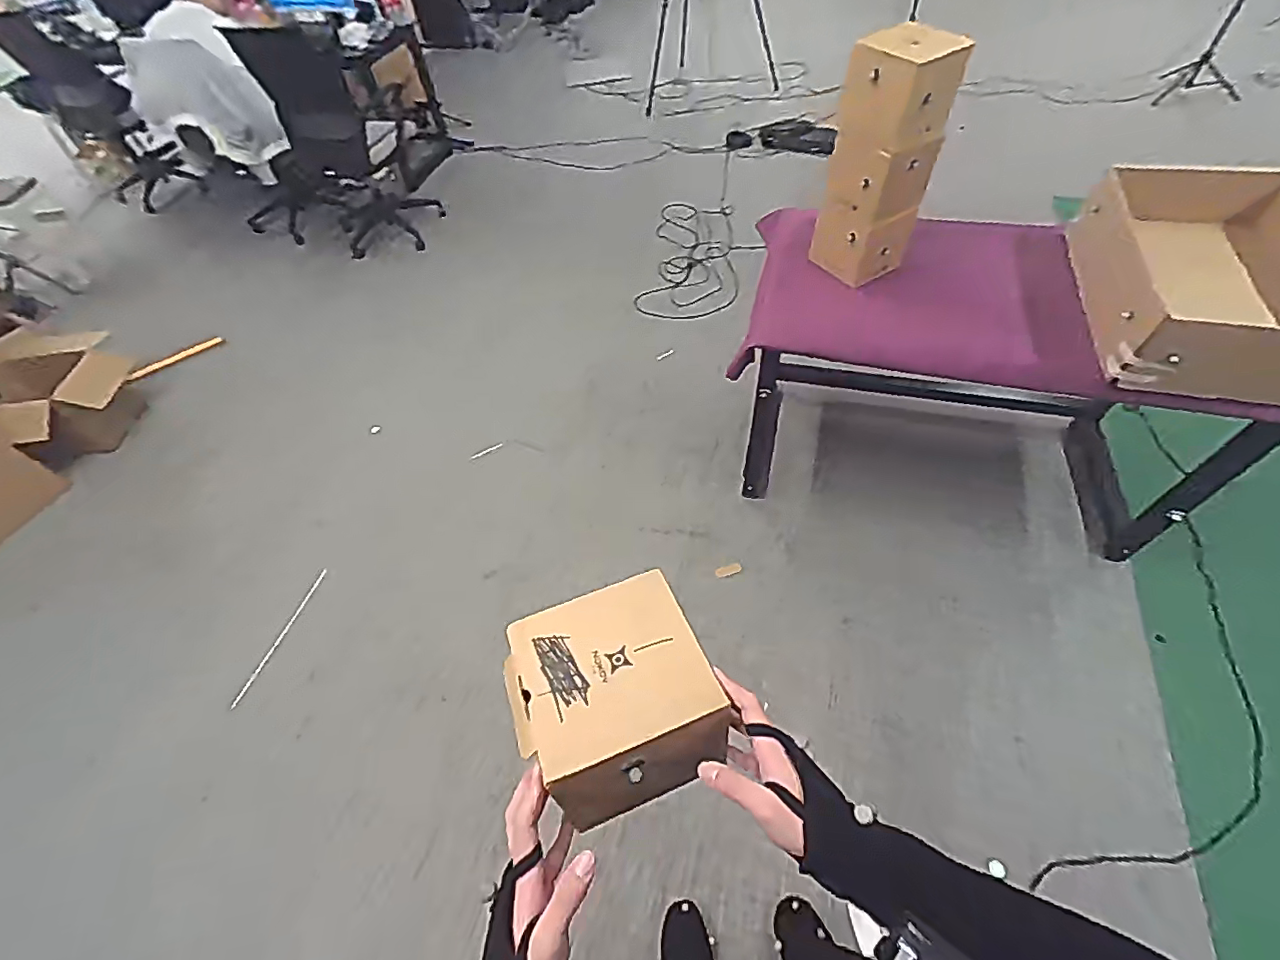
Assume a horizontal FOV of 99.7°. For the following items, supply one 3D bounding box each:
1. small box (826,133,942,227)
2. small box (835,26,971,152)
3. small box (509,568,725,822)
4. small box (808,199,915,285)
[{"bbox_3d":[0.570,-0.738,1.294,0.179,0.176,0.168,-28,58,-16],"label":"small box"},{"bbox_3d":[0.555,-0.835,1.165,0.168,0.176,0.179,-30,58,-16],"label":"small box"},{"bbox_3d":[-0.022,0.230,0.577,0.179,0.176,0.168,-18,46,-12],"label":"small box"},{"bbox_3d":[0.574,-0.640,1.424,0.168,0.176,0.179,-28,57,-16],"label":"small box"}]
